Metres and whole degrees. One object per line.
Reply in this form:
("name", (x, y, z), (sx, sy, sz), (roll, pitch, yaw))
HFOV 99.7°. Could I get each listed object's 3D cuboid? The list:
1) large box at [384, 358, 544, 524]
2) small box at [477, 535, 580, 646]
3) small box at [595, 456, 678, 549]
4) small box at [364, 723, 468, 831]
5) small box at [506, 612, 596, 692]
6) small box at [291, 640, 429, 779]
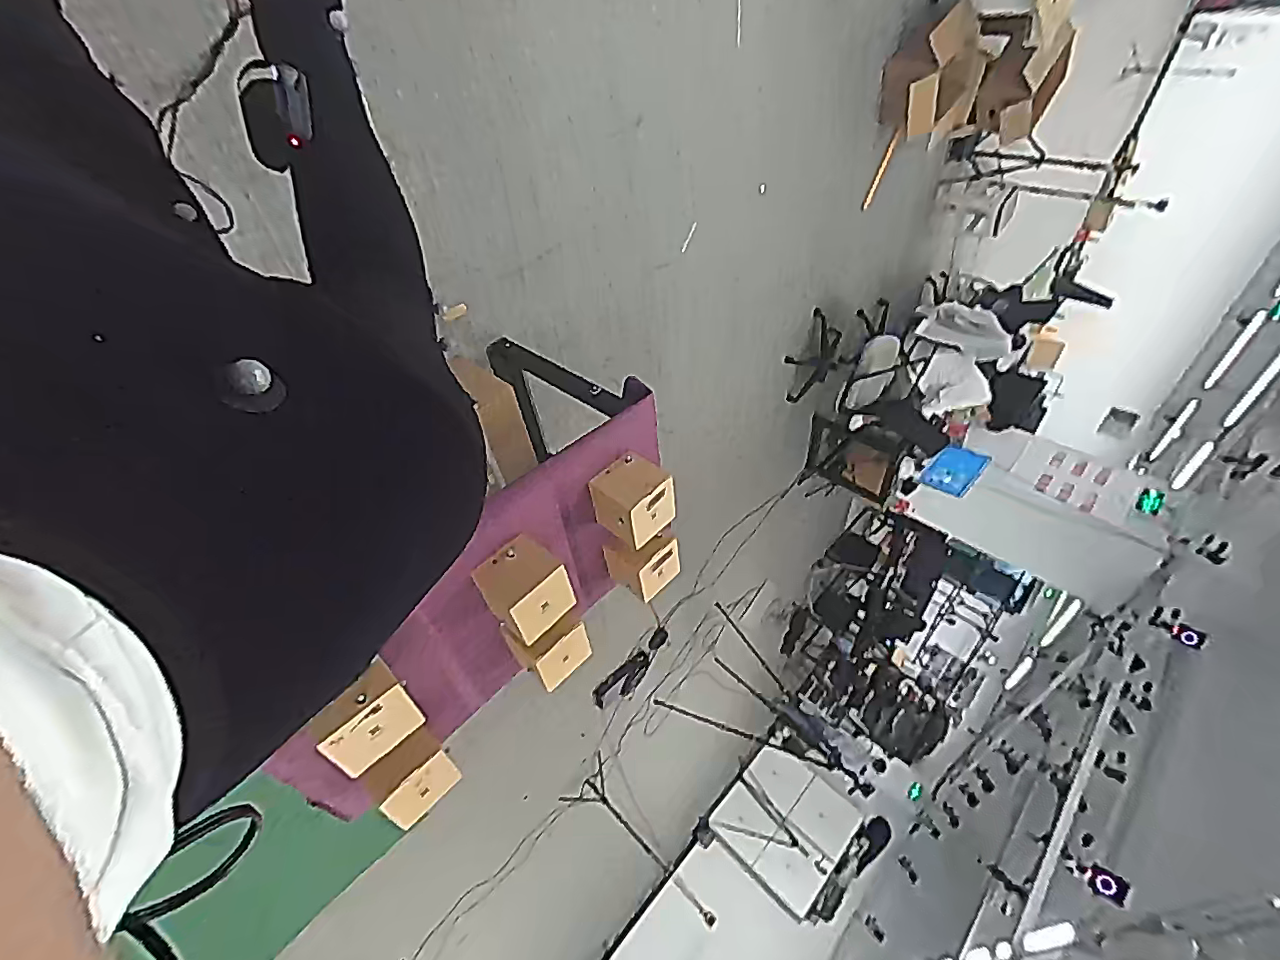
("large box", (-0.583, -0.134, 1.839), (0.320, 0.320, 0.408), (-39, 143, -26))
("small box", (-0.277, 0.271, 1.353), (0.168, 0.176, 0.179), (-40, 143, -28))
("small box", (-0.011, 0.054, 1.526), (0.168, 0.176, 0.179), (-39, 143, -26))
("small box", (-0.557, 0.704, 1.322), (0.168, 0.176, 0.179), (-39, 141, -31))
("small box", (-0.251, 0.456, 1.535), (0.168, 0.176, 0.179), (-38, 140, -28))
("small box", (-0.573, 0.466, 1.116), (0.168, 0.176, 0.179), (-38, 144, -31))
